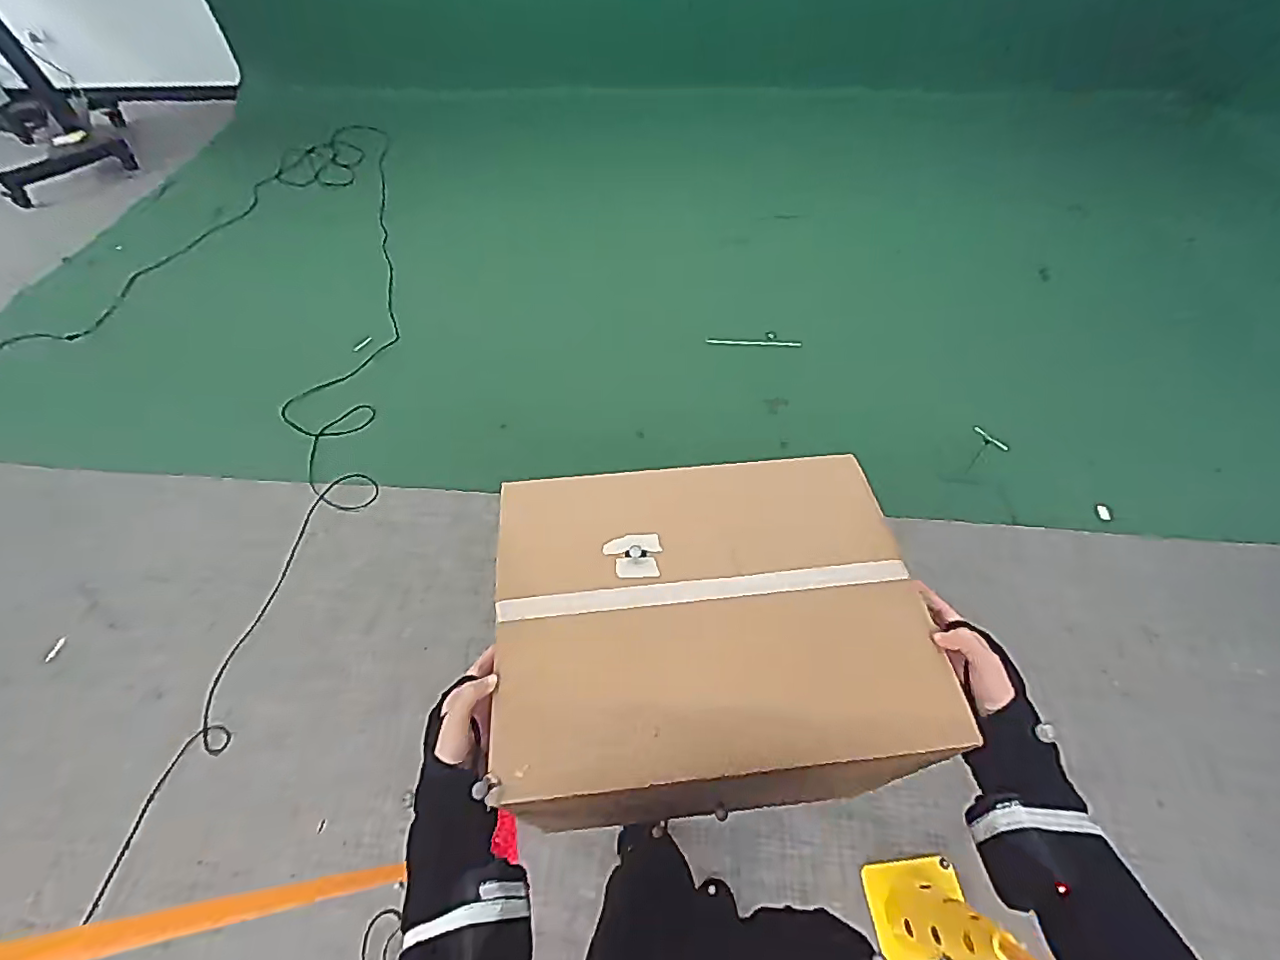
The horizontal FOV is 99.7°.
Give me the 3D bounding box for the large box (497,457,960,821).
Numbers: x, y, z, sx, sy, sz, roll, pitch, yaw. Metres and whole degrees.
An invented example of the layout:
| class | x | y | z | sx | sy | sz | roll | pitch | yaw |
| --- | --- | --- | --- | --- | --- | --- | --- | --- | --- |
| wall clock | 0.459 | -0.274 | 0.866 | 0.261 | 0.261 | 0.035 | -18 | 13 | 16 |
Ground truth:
| class | x | y | z | sx | sy | sz | roll | pitch | yaw |
| --- | --- | --- | --- | --- | --- | --- | --- | --- | --- |
| large box | 0.066 | 0.202 | 0.656 | 0.408 | 0.320 | 0.320 | -6 | 53 | -3 |
